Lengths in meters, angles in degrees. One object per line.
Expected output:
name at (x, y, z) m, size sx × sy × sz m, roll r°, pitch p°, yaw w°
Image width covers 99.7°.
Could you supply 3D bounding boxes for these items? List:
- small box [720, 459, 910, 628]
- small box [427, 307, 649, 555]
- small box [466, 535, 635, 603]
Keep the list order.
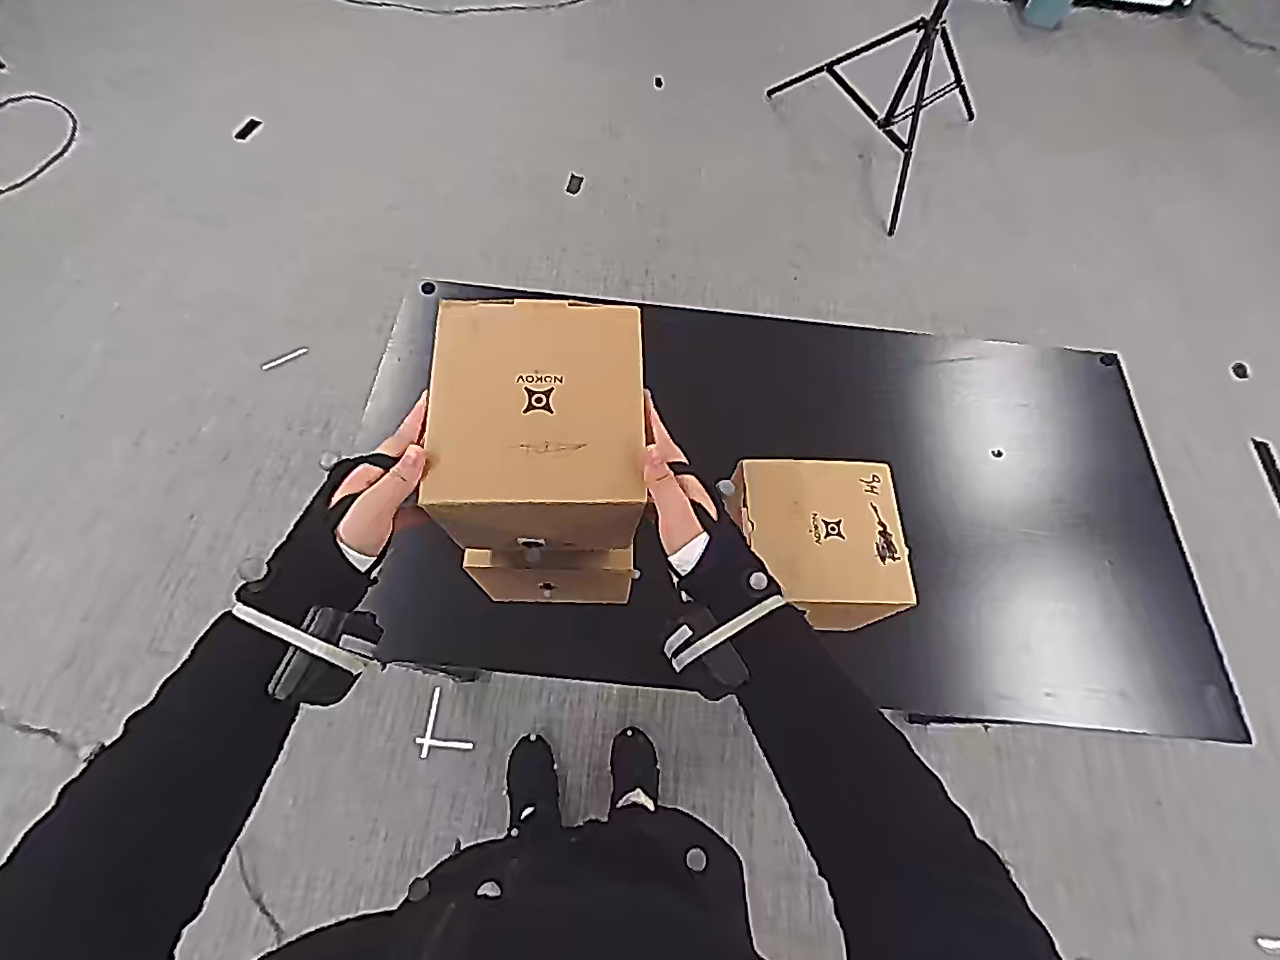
small box at (0.196, 0.085, 0.669) m, size 0.179 × 0.176 × 0.168 m, roll 2°, pitch 65°, yaw -2°
small box at (-0.085, -0.035, 0.503) m, size 0.168 × 0.176 × 0.179 m, roll 0°, pitch 70°, yaw -6°
small box at (-0.097, 0.052, 0.667) m, size 0.179 × 0.176 × 0.168 m, roll 1°, pitch 65°, yaw -2°
